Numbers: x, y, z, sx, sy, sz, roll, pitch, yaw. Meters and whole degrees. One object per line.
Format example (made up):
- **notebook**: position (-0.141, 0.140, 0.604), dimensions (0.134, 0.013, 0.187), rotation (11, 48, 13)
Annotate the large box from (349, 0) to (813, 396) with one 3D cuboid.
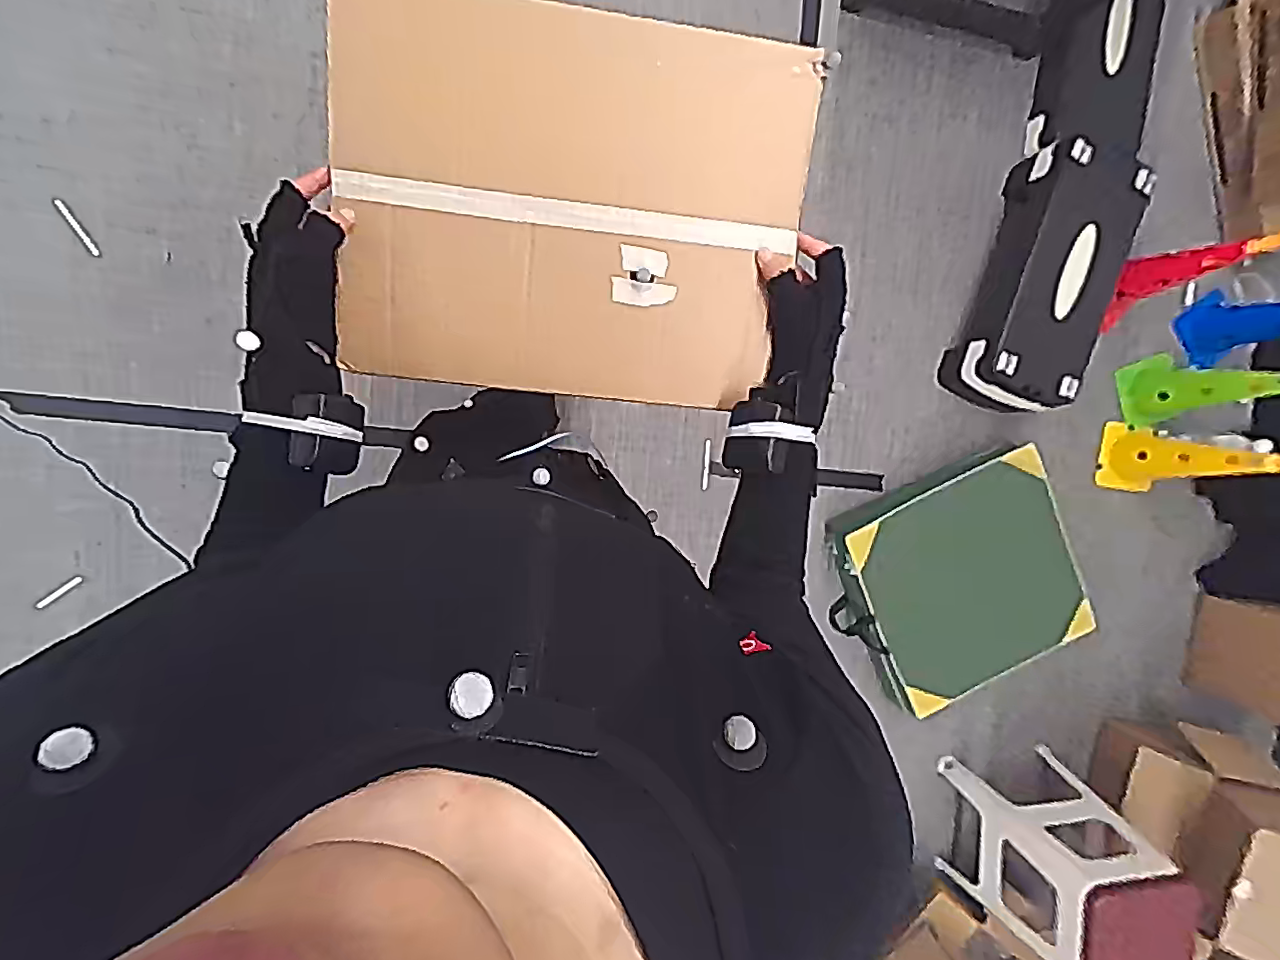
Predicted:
- **large box**: position (-0.069, -0.280, 0.637), dimensions (0.408, 0.320, 0.320), rotation (5, 104, -6)
